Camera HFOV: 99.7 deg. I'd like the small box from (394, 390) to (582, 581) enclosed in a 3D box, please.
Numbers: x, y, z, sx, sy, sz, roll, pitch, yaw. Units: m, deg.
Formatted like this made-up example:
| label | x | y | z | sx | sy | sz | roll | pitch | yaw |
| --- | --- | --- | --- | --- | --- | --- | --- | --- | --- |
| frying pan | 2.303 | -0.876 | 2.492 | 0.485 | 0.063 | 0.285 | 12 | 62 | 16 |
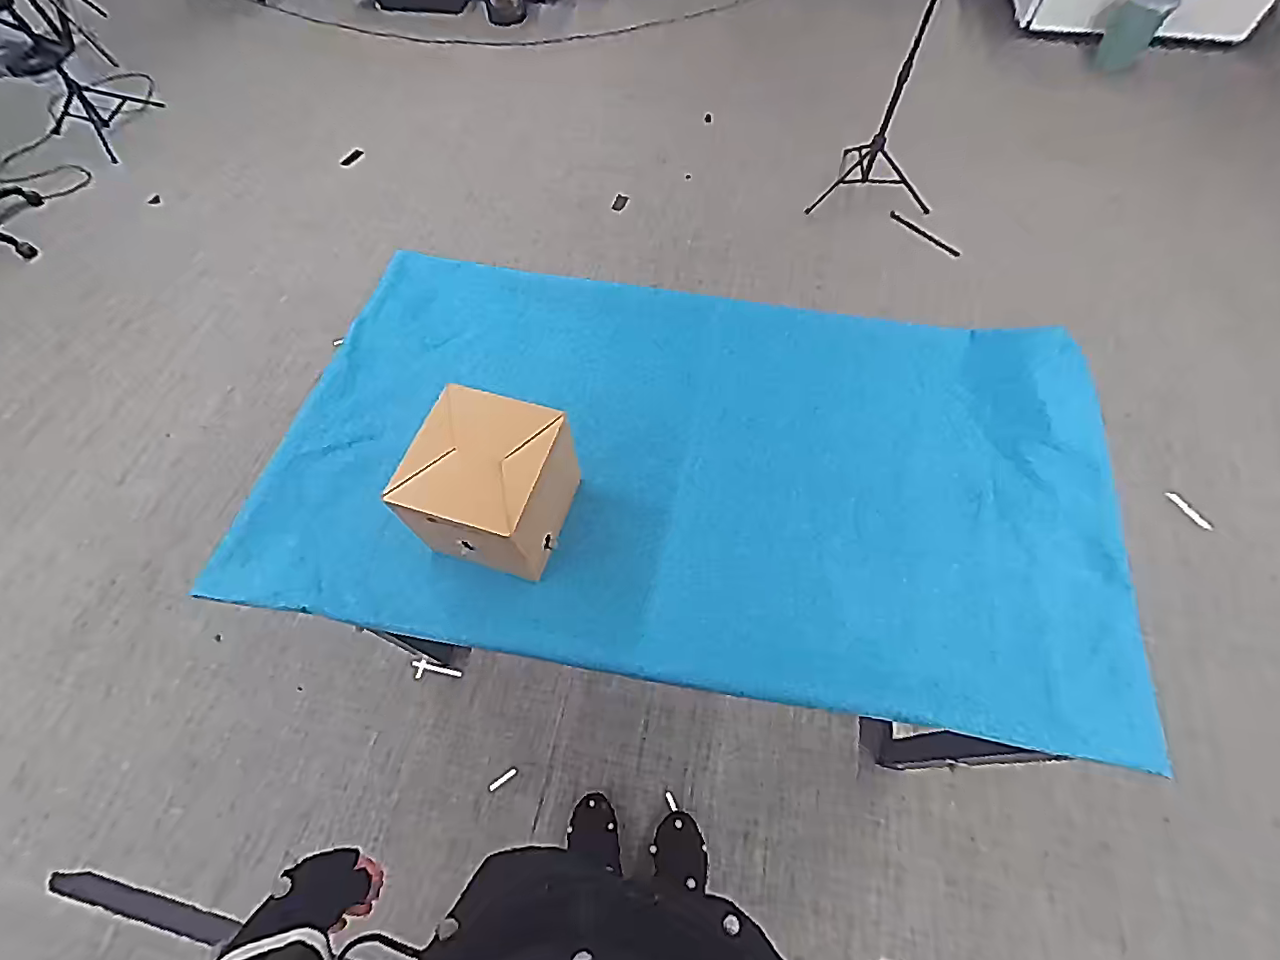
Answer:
| label | x | y | z | sx | sy | sz | roll | pitch | yaw |
| --- | --- | --- | --- | --- | --- | --- | --- | --- | --- |
| small box | -0.191 | 0.009 | 0.719 | 0.168 | 0.176 | 0.179 | 15 | 63 | 9 |
